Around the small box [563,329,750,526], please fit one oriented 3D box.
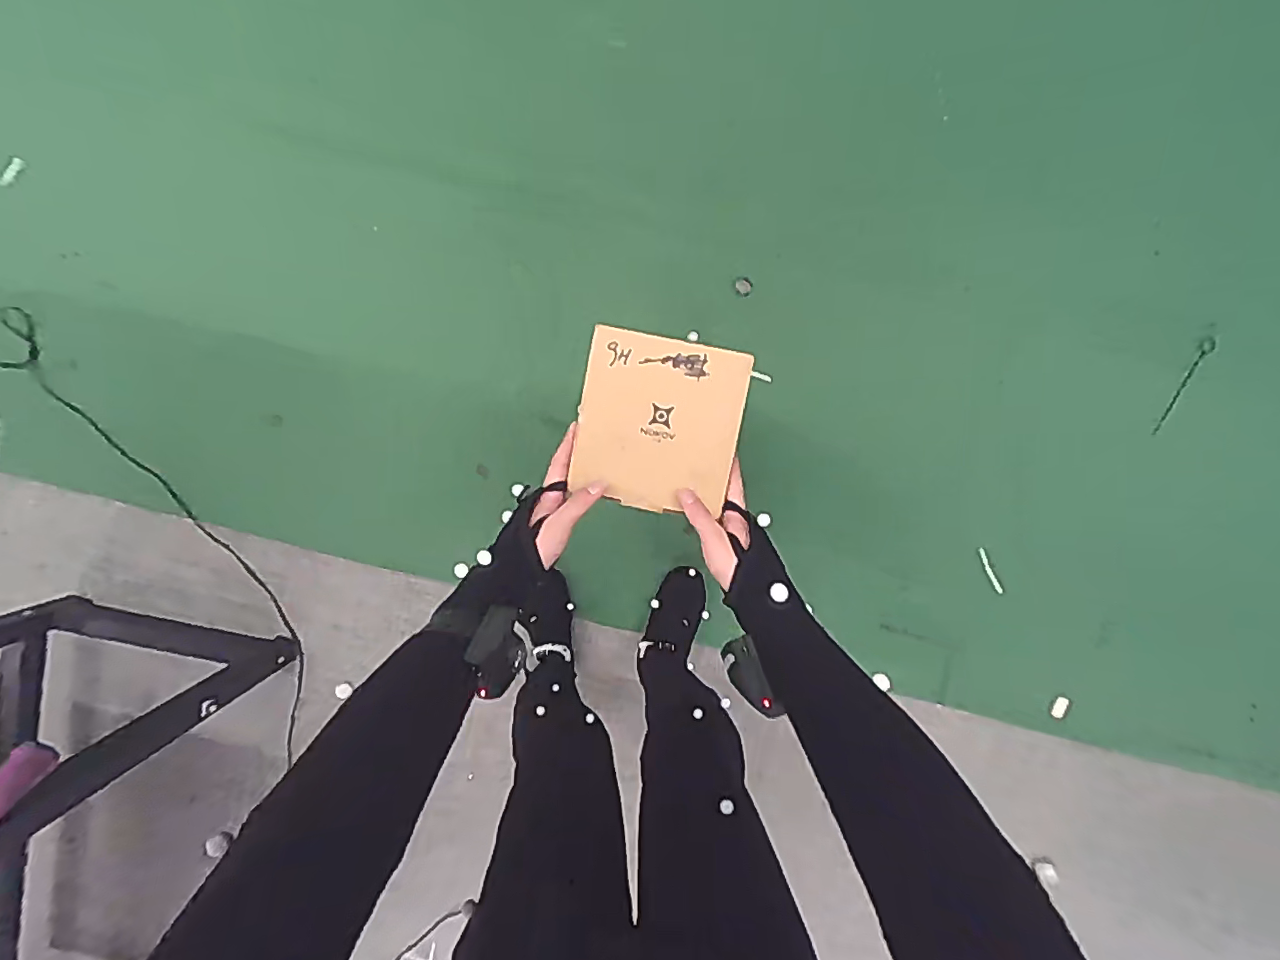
[{"bbox_3d":[0.017,-0.061,0.630,0.168,0.176,0.179,11,96,0],"label":"small box"}]
